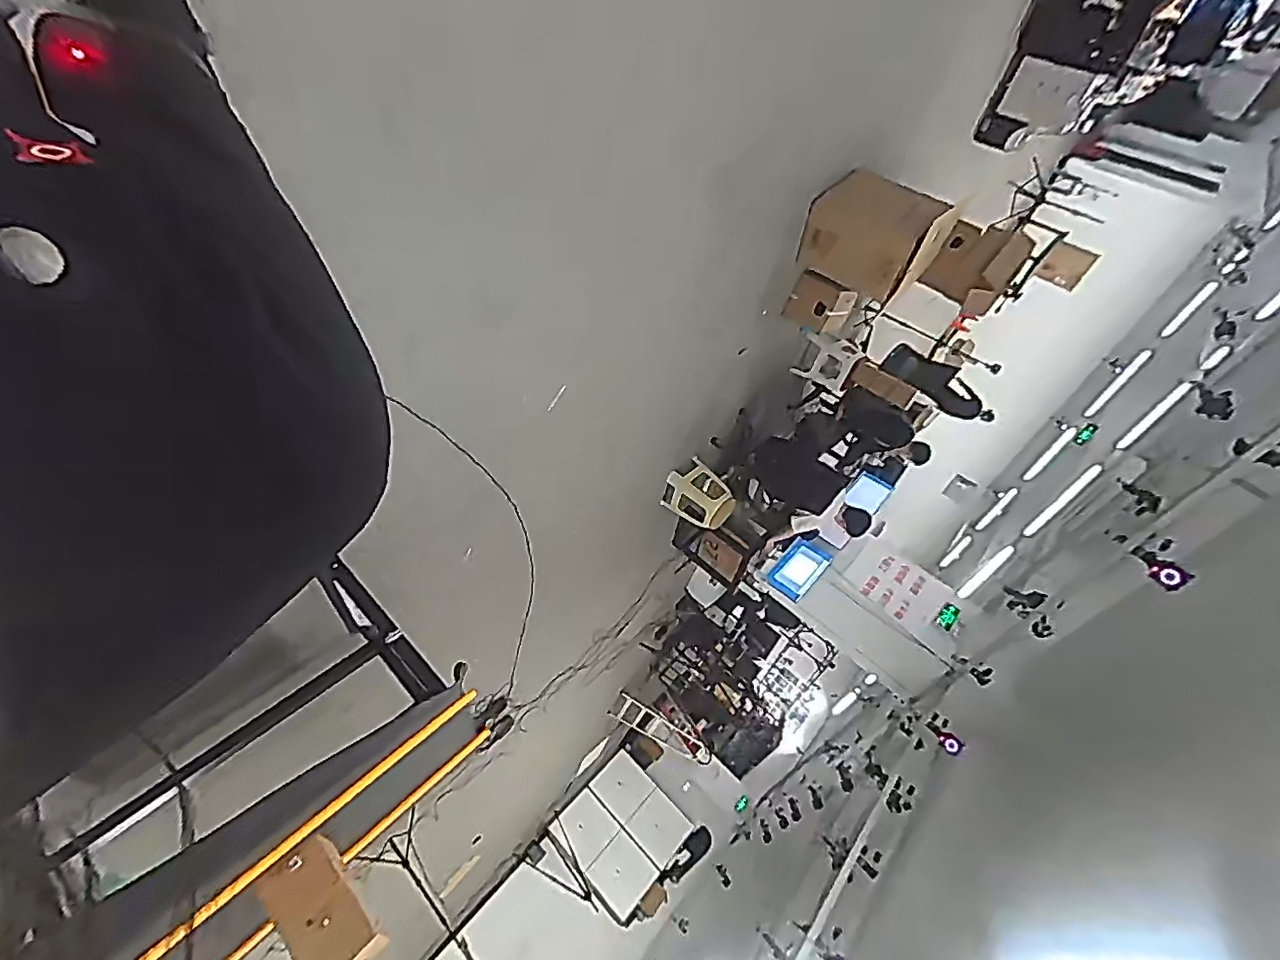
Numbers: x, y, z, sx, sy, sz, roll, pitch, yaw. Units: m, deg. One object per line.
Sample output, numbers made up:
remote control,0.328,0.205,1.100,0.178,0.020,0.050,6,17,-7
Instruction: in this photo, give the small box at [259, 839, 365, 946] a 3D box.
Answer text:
small box,-0.893,1.128,1.480,0.168,0.176,0.179,-38,152,-34

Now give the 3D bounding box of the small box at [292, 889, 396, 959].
small box,-0.772,1.223,1.420,0.168,0.176,0.179,-35,151,-38
